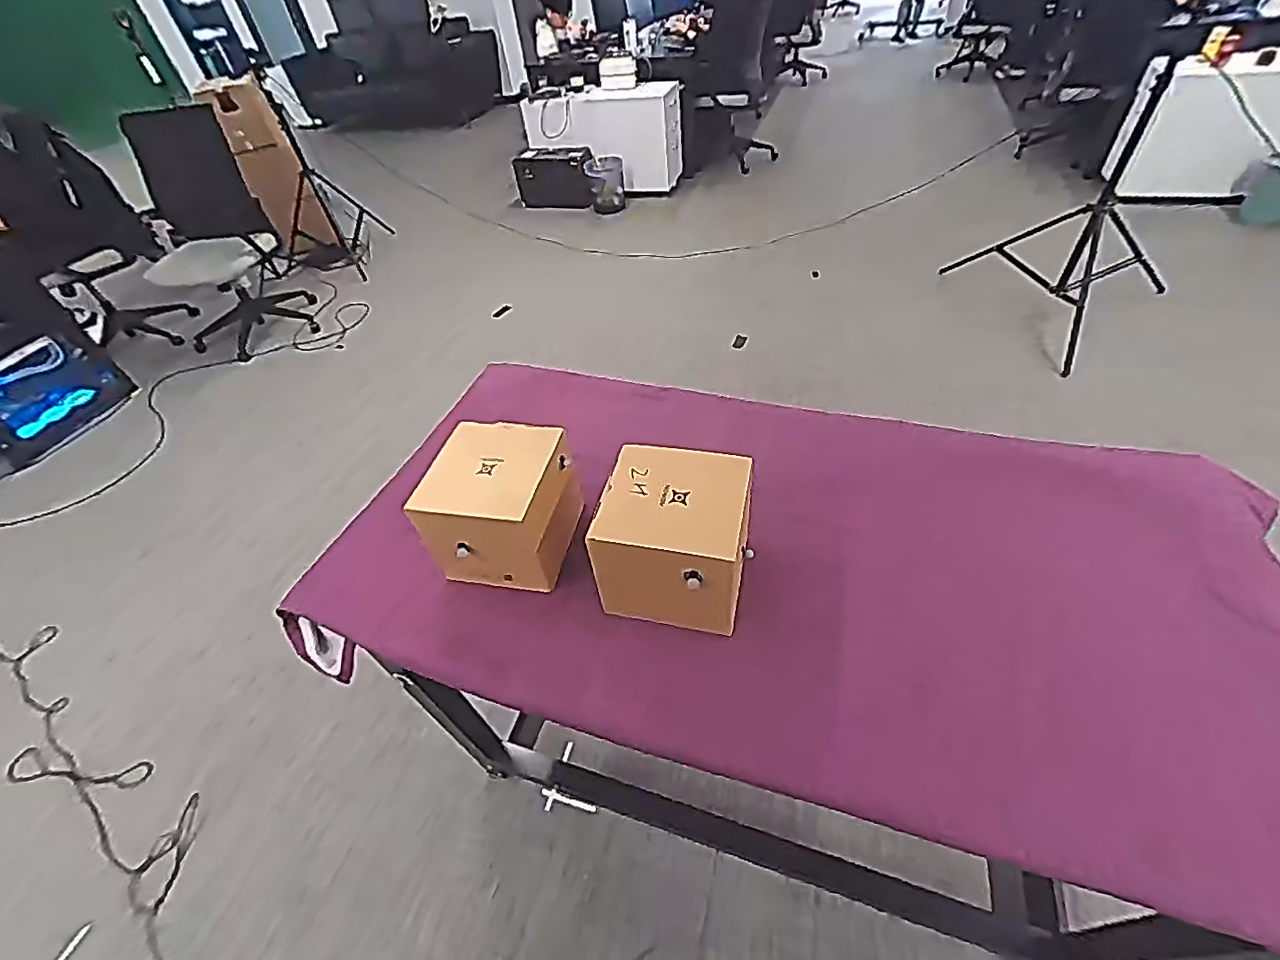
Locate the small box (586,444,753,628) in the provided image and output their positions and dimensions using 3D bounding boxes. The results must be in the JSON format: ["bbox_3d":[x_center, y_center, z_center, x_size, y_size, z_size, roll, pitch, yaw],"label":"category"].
[{"bbox_3d":[0.047,0.076,0.714,0.179,0.176,0.168,7,46,14],"label":"small box"}]

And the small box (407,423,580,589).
[{"bbox_3d":[-0.196,0.039,0.787,0.168,0.176,0.179,4,46,12],"label":"small box"}]
